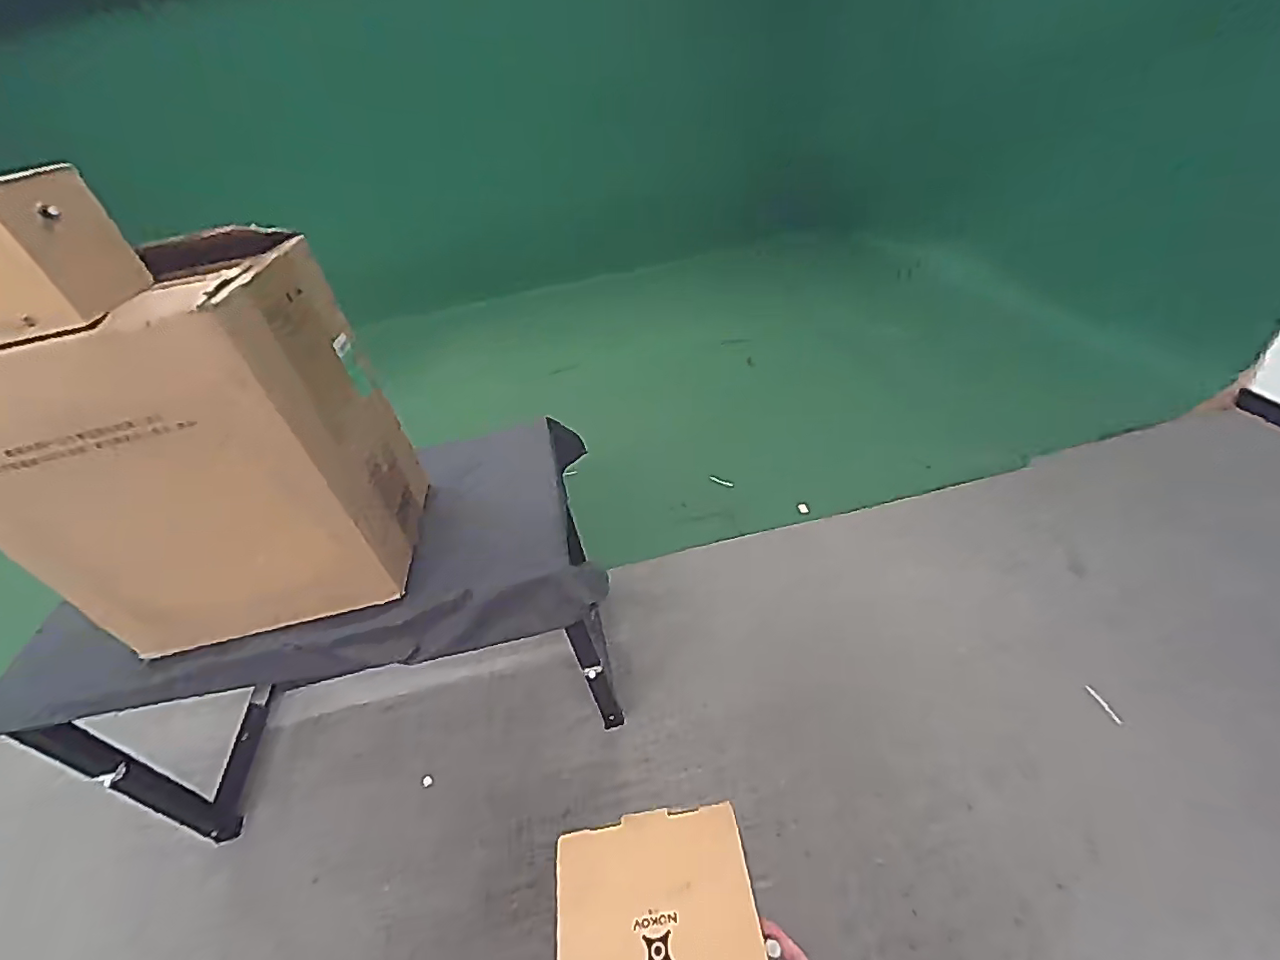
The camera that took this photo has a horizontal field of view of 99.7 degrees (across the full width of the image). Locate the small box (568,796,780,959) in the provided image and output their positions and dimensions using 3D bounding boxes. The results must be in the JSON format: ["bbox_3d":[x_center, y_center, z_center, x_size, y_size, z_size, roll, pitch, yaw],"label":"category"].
[{"bbox_3d":[0.035,0.423,0.483,0.168,0.176,0.179,-13,39,0],"label":"small box"}]

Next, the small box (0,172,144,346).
[{"bbox_3d":[-0.832,-0.287,0.720,0.168,0.176,0.179,-13,38,-3],"label":"small box"}]
